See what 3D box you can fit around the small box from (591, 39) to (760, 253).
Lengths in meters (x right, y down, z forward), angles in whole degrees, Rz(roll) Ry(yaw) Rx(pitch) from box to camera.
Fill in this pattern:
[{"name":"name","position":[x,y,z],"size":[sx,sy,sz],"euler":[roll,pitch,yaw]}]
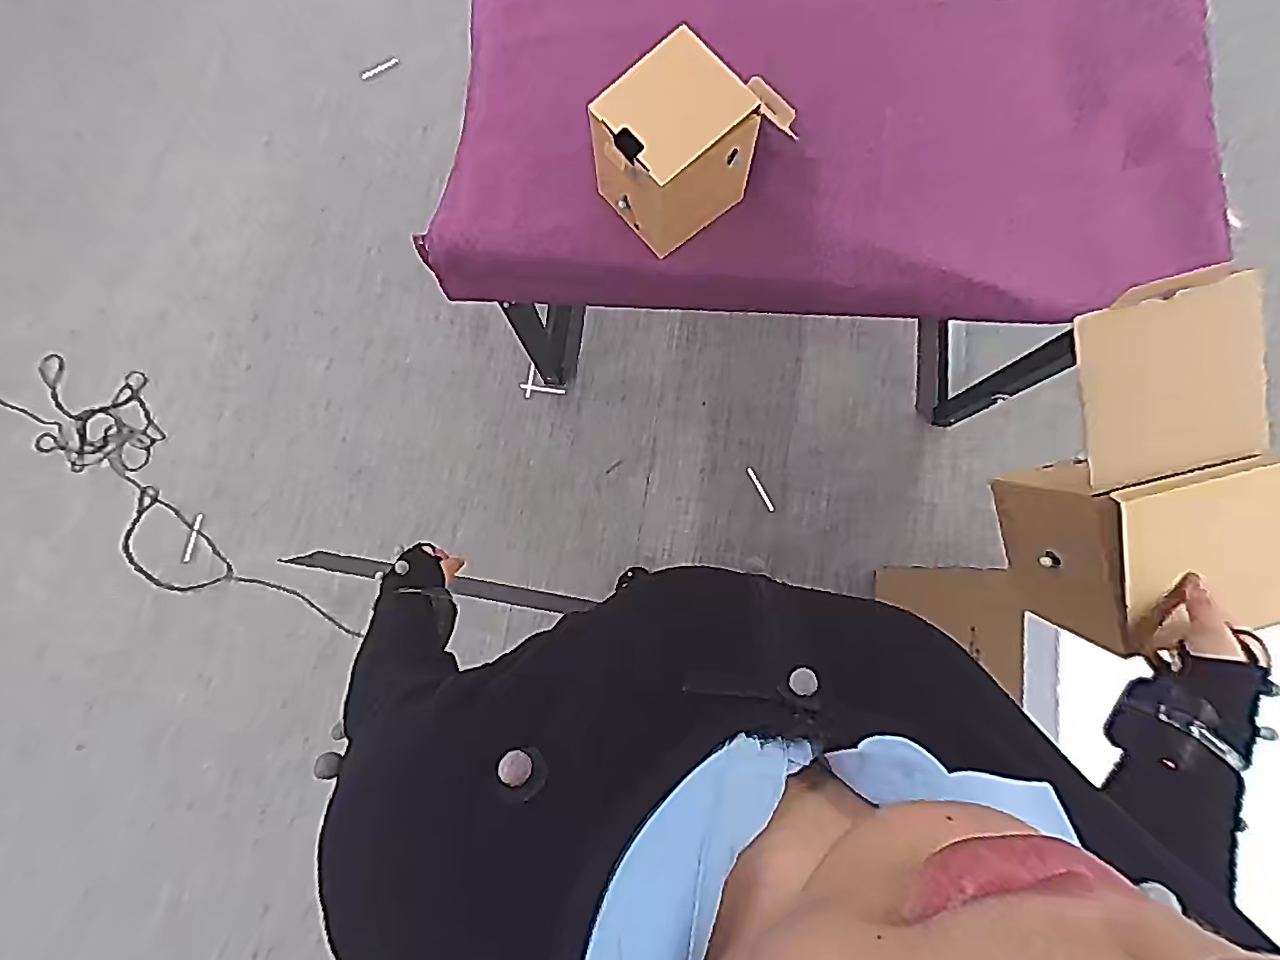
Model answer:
[{"name":"small box","position":[0.048,-0.486,0.810],"size":[0.179,0.176,0.168],"euler":[-38,80,-5]}]
